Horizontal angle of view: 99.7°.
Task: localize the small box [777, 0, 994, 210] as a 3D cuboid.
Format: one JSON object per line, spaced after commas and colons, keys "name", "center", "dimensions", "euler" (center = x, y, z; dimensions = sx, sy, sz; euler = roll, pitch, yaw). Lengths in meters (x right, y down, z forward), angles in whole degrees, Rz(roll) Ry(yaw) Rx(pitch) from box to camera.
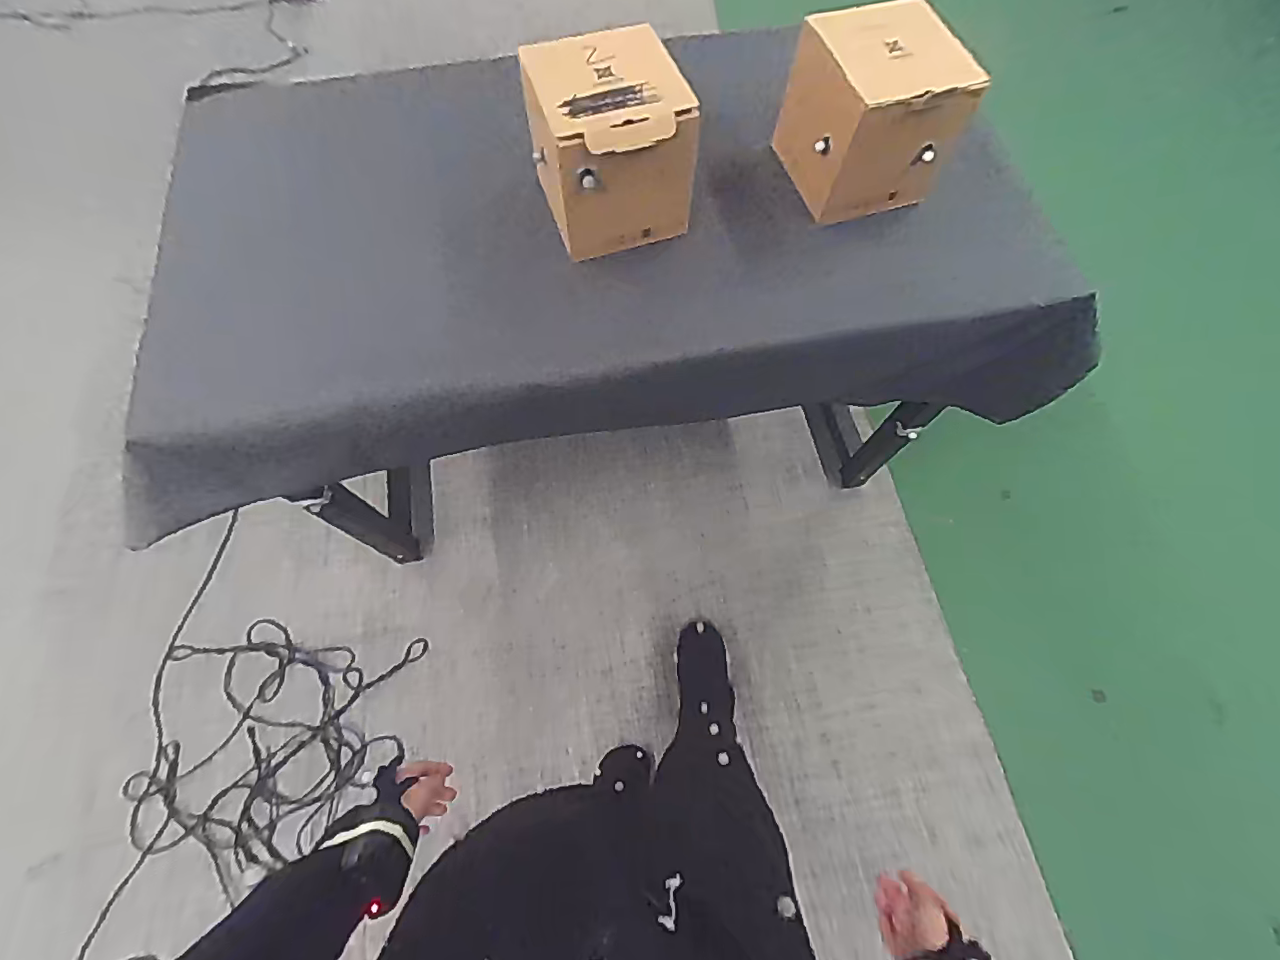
{"name": "small box", "center": [0.305, -0.485, 0.714], "dimensions": [0.168, 0.176, 0.179], "euler": [-16, 68, -9]}
